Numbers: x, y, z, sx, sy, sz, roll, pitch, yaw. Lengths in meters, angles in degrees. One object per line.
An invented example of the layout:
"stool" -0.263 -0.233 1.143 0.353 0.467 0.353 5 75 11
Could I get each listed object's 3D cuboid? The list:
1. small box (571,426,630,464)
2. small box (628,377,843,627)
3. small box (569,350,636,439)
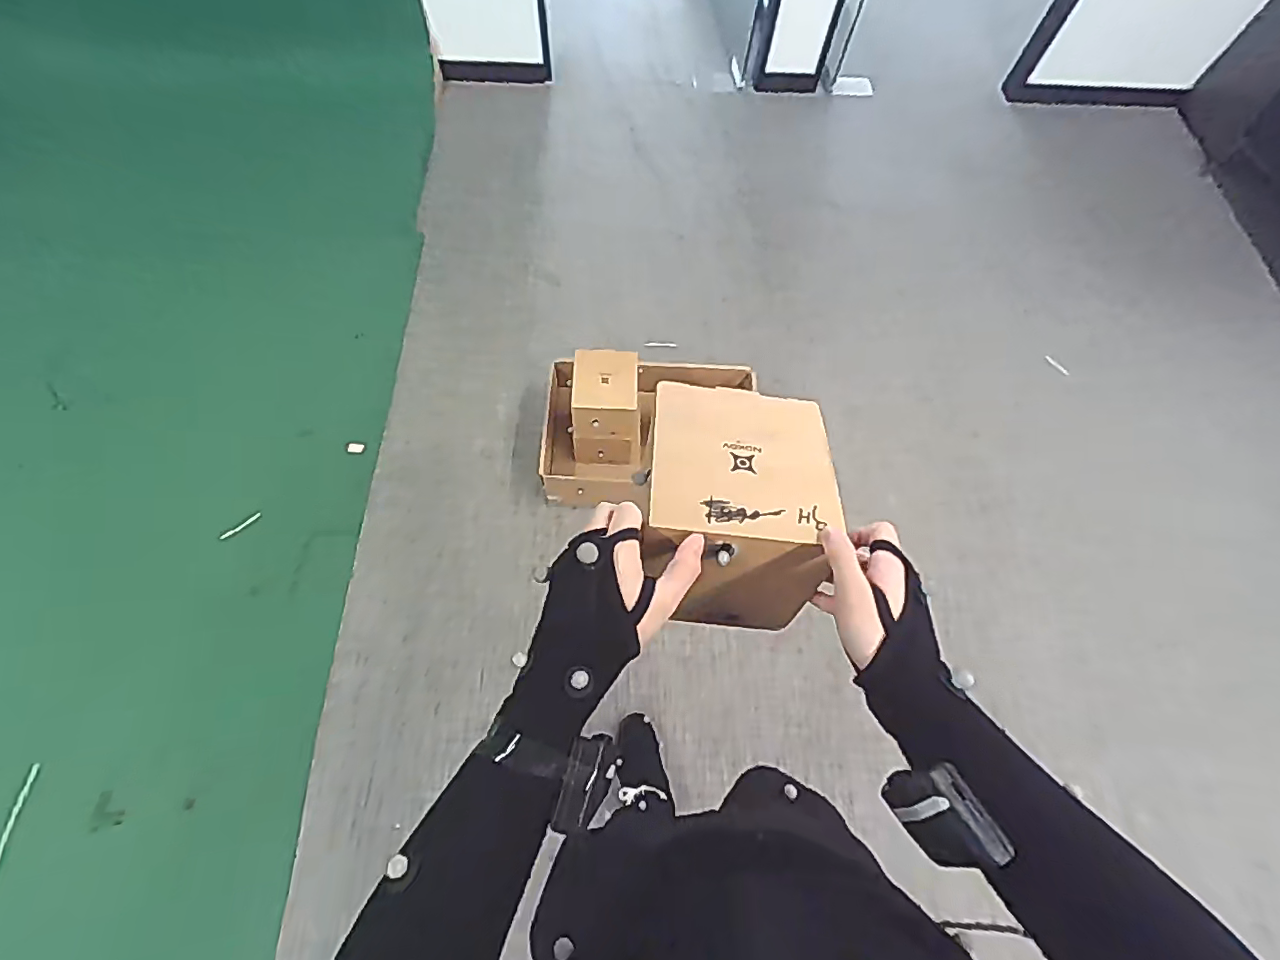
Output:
"small box" -0.111 -0.157 1.587 0.168 0.176 0.179 3 66 -3
"small box" 0.080 0.025 0.546 0.168 0.176 0.179 7 51 -2
"small box" -0.097 -0.222 1.439 0.168 0.176 0.179 2 66 -3
